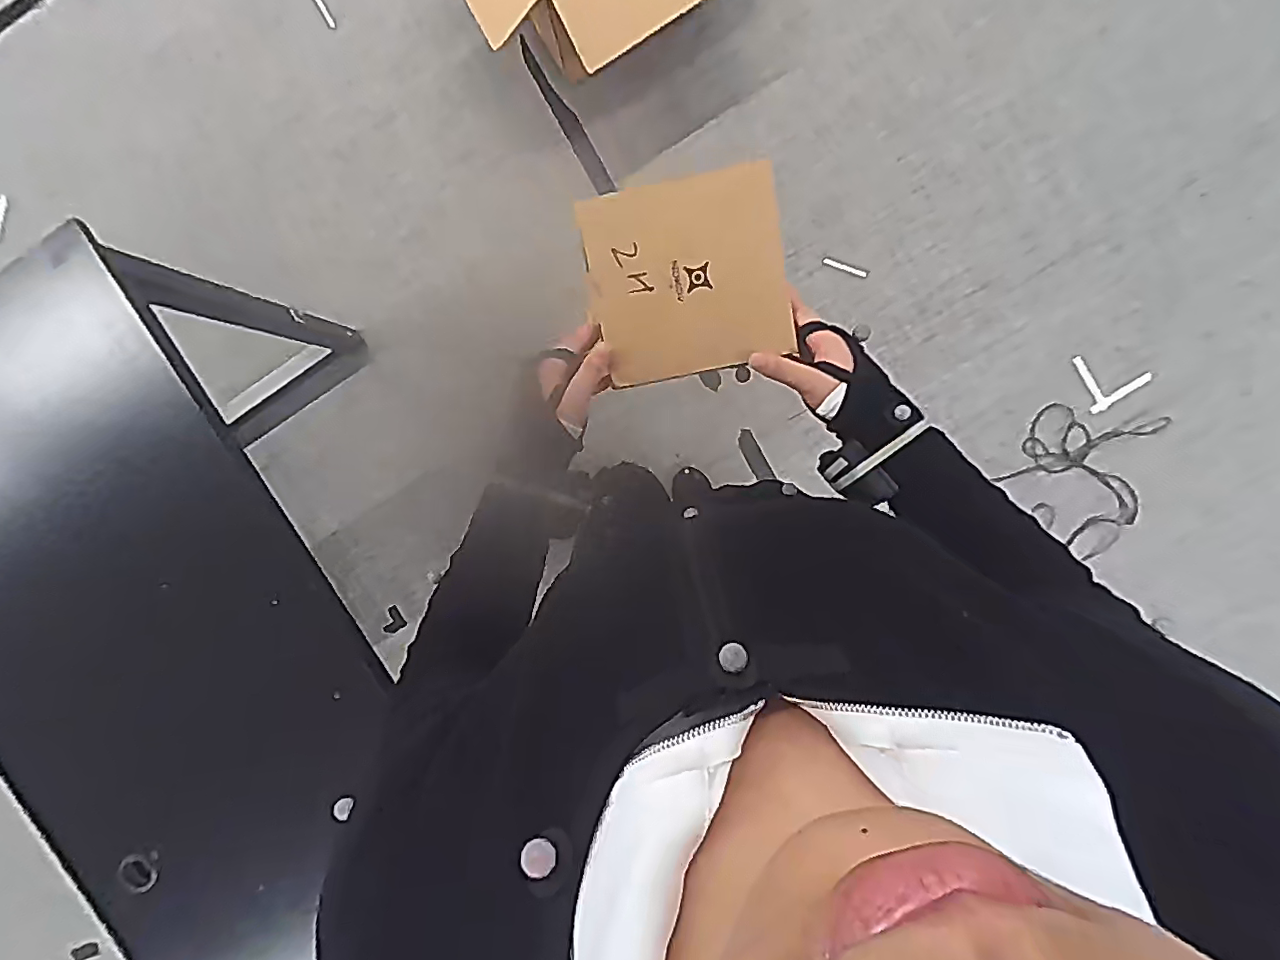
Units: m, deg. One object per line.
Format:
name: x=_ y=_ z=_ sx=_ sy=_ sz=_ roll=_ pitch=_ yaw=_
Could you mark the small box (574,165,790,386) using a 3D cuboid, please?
small box: x=0.039 y=-0.196 z=0.564 sx=0.179 sy=0.176 sz=0.168 roll=-11 pitch=99 yaw=2
